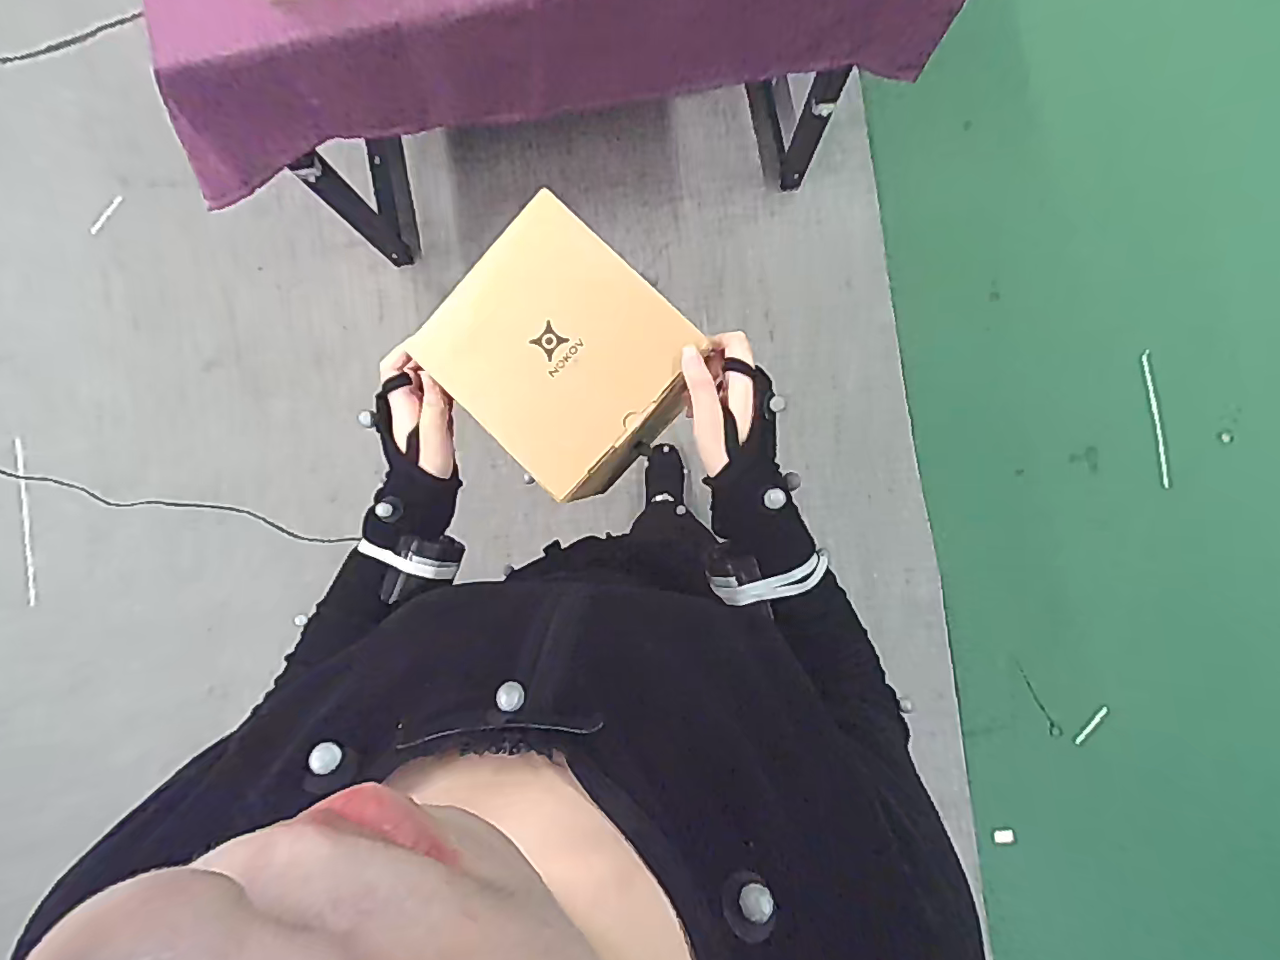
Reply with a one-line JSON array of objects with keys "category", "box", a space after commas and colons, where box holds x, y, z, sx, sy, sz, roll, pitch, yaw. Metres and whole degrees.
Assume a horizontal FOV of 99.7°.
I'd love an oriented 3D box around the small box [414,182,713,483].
[{"category": "small box", "box": [-0.054, -0.113, 0.490, 0.179, 0.176, 0.168, 43, 95, 3]}]
